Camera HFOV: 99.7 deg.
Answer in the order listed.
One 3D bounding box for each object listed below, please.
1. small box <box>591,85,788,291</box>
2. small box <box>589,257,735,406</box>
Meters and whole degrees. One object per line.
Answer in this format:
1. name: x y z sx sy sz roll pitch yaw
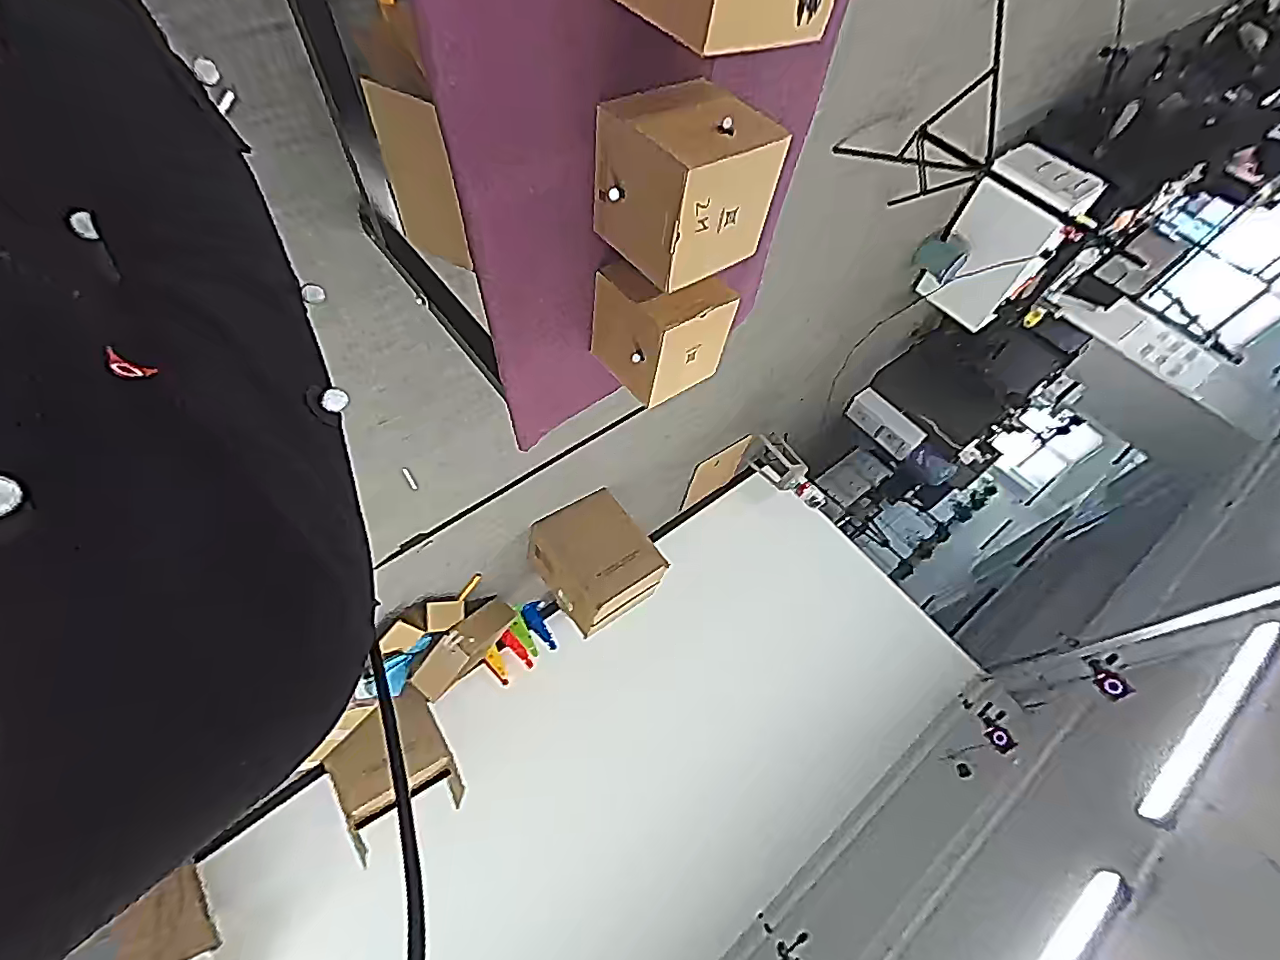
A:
1. small box: 0.056 -0.392 0.720 0.179 0.176 0.168 -31 156 -25
2. small box: 0.027 -0.265 0.923 0.168 0.176 0.179 -31 156 -27
